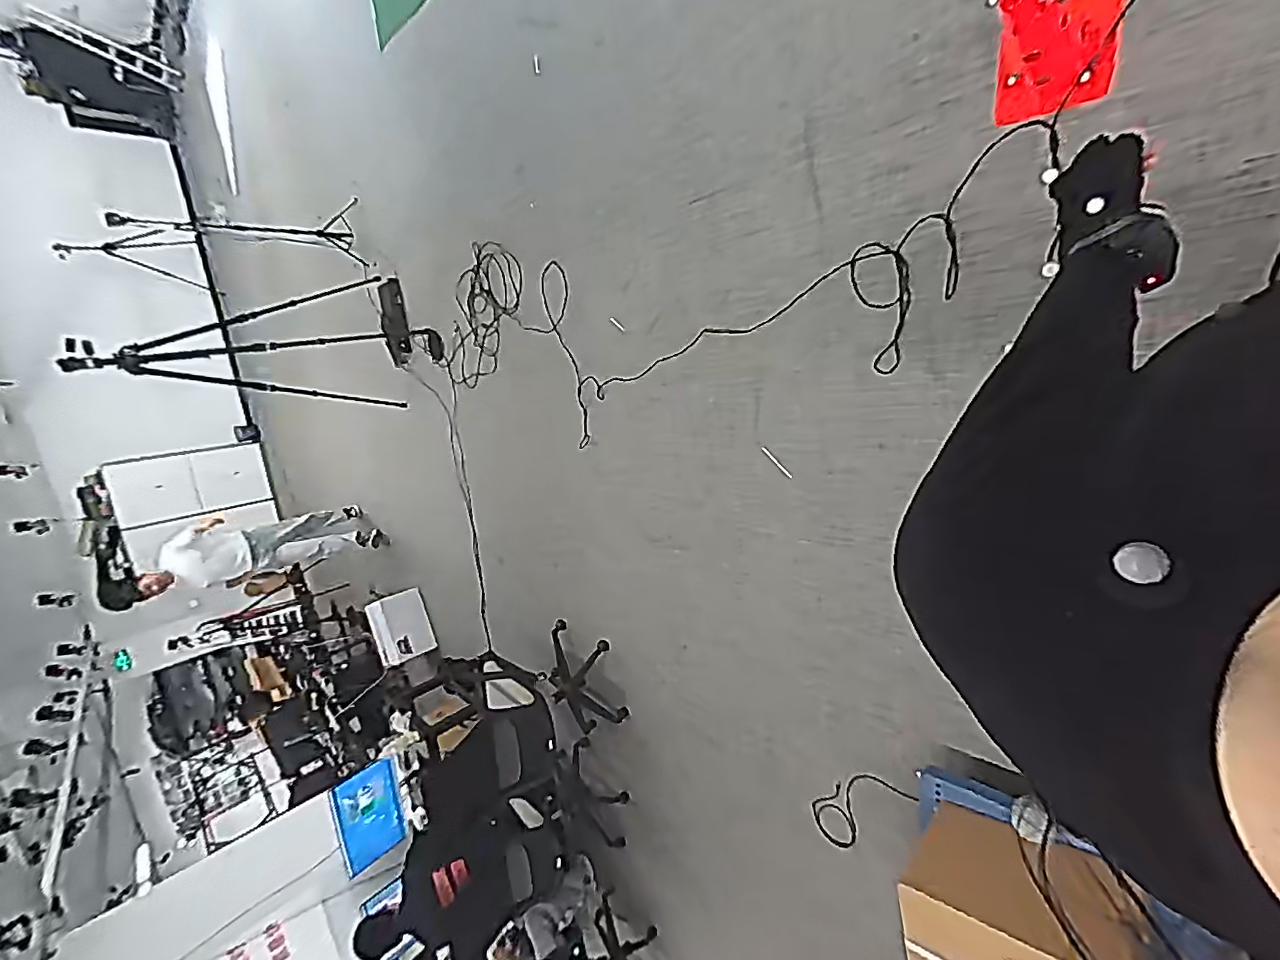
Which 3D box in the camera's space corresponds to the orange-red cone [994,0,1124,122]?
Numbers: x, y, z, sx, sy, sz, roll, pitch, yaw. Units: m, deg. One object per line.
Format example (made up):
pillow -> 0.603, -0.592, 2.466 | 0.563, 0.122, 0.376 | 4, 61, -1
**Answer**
orange-red cone -> 0.723, -0.823, 0.982 | 0.198, 0.360, 0.199 | 12, 110, 43
